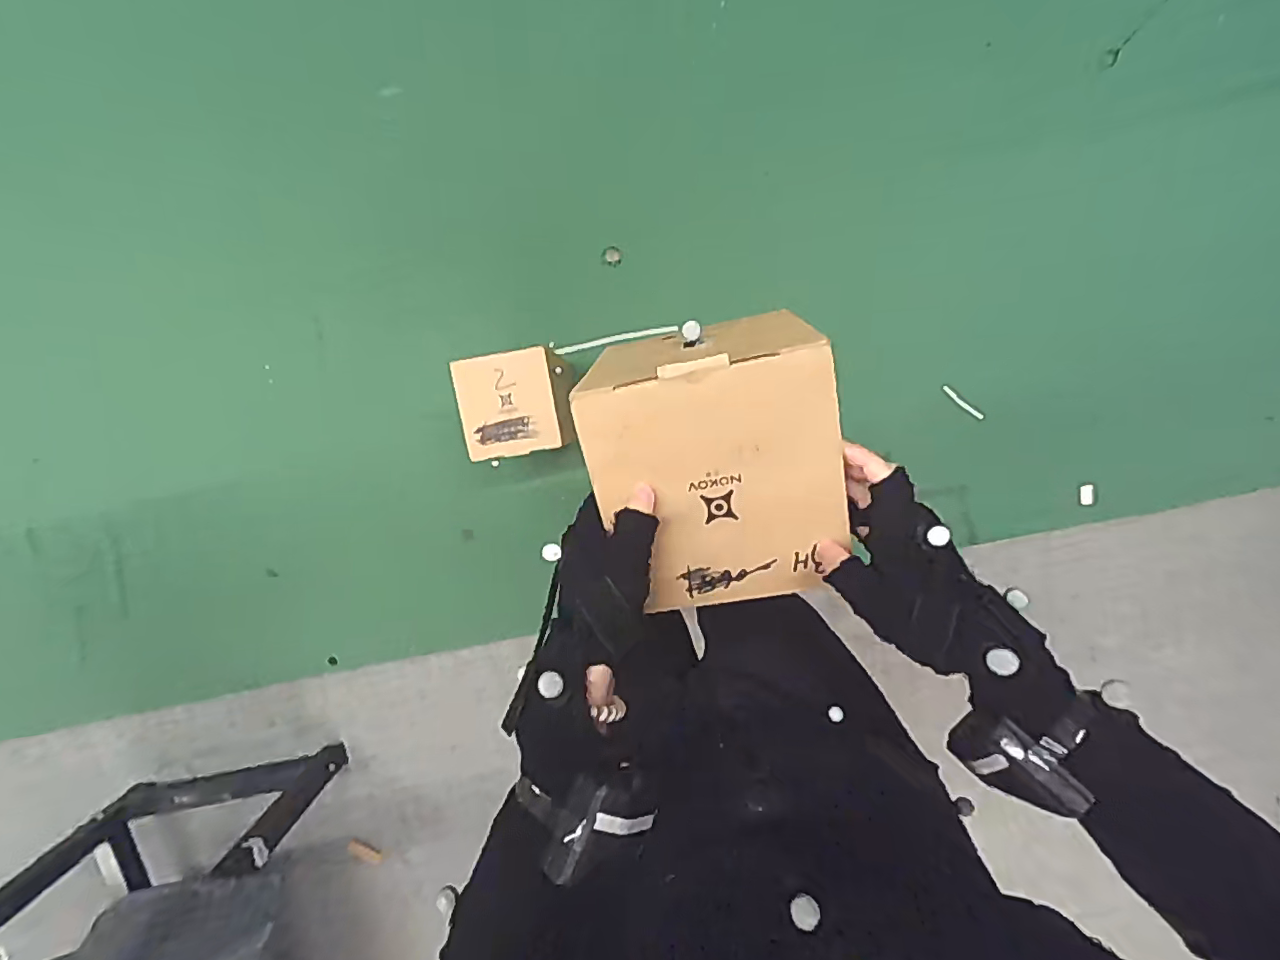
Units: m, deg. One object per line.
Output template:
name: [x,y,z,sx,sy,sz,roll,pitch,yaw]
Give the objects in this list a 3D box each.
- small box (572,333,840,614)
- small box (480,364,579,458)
small box: [0.055,-0.018,0.449,0.168,0.176,0.179,-10,110,9]
small box: [-0.231,-0.153,1.176,0.168,0.176,0.179,-7,99,1]
